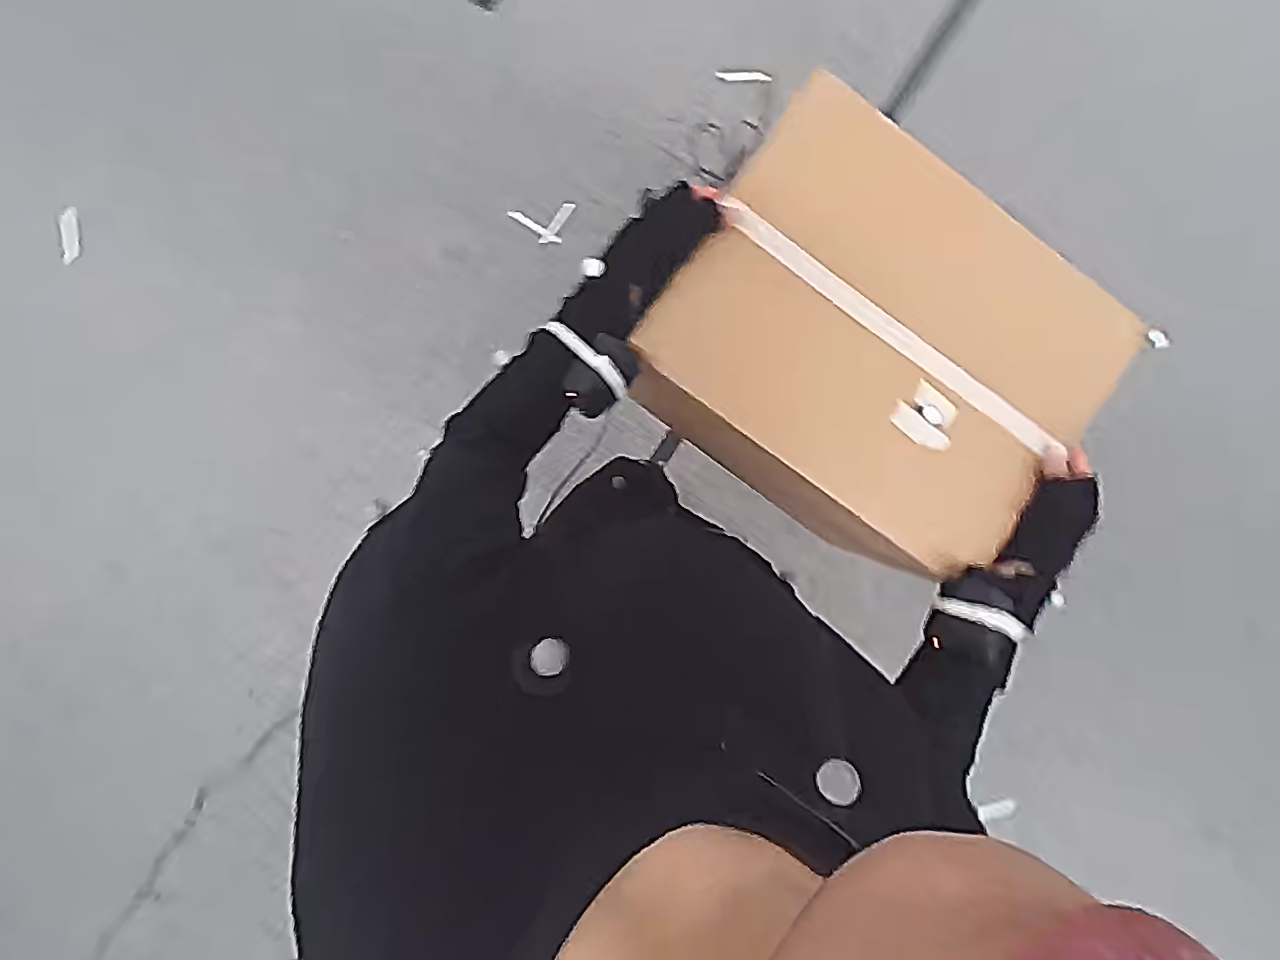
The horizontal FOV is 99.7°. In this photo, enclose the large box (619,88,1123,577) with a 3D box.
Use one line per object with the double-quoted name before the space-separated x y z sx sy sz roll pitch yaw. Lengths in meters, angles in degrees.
"large box" 0.225 -0.143 0.669 0.408 0.320 0.320 36 90 -5
